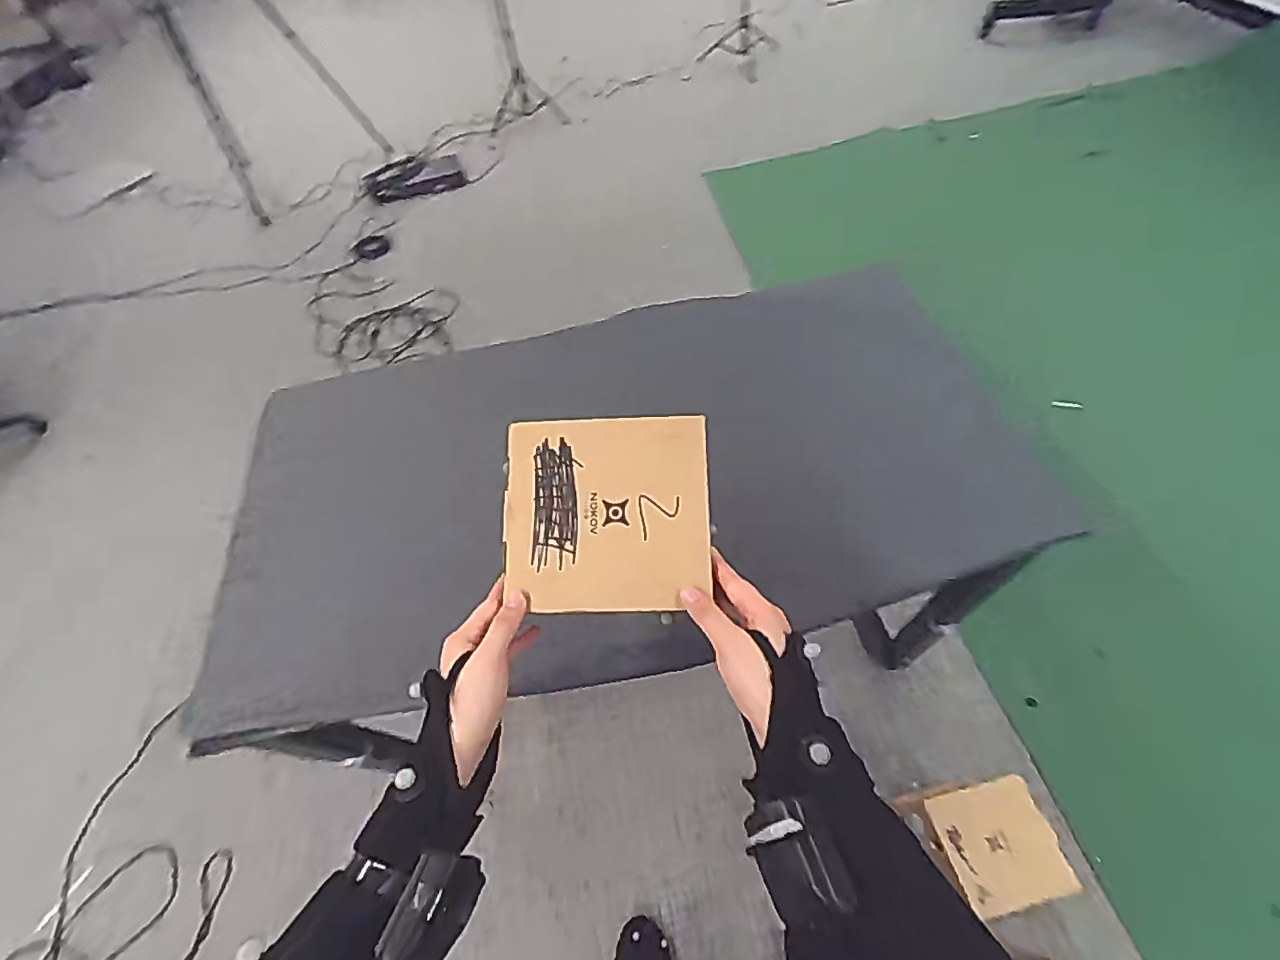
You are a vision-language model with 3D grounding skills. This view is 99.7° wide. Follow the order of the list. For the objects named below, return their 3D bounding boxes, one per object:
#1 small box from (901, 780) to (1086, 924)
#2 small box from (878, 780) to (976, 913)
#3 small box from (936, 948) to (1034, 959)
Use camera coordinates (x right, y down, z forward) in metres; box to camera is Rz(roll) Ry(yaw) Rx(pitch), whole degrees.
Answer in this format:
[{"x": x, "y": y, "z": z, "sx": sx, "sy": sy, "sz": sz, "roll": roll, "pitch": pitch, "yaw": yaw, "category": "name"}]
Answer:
[{"x": 0.585, "y": 0.625, "z": 0.925, "sx": 0.179, "sy": 0.176, "sz": 0.168, "roll": -13, "pitch": 57, "yaw": -1, "category": "small box"}, {"x": 0.600, "y": 0.713, "z": 1.064, "sx": 0.168, "sy": 0.176, "sz": 0.179, "roll": -16, "pitch": 55, "yaw": -2, "category": "small box"}, {"x": 0.637, "y": 0.929, "z": 0.917, "sx": 0.168, "sy": 0.176, "sz": 0.179, "roll": -8, "pitch": 57, "yaw": 3, "category": "small box"}]
